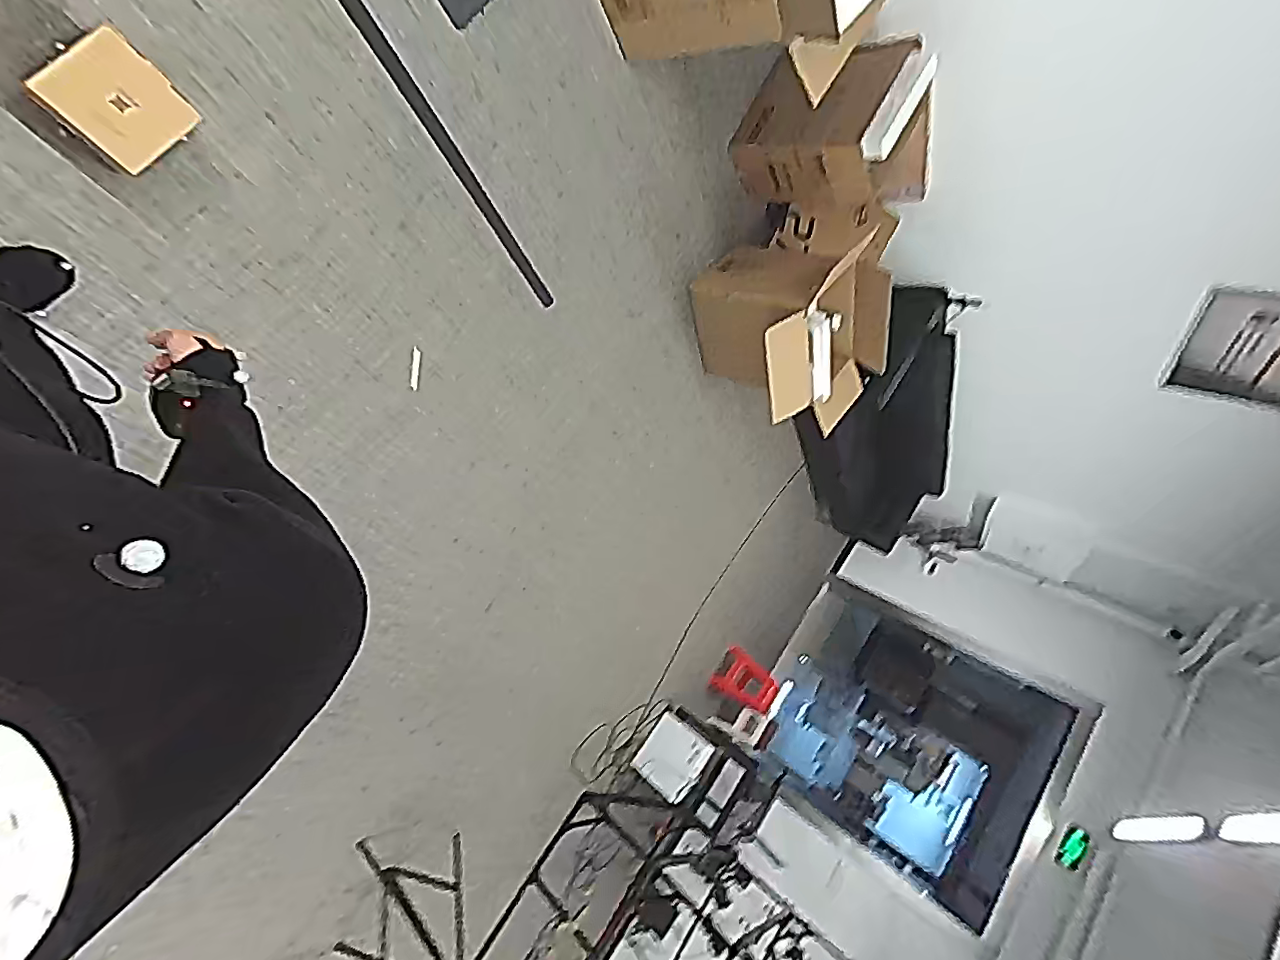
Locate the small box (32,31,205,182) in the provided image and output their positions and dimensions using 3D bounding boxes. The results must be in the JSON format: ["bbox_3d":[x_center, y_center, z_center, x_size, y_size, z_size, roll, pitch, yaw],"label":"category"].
[{"bbox_3d":[-0.980,-0.692,1.014,0.179,0.176,0.168,-54,142,-12],"label":"small box"}]
